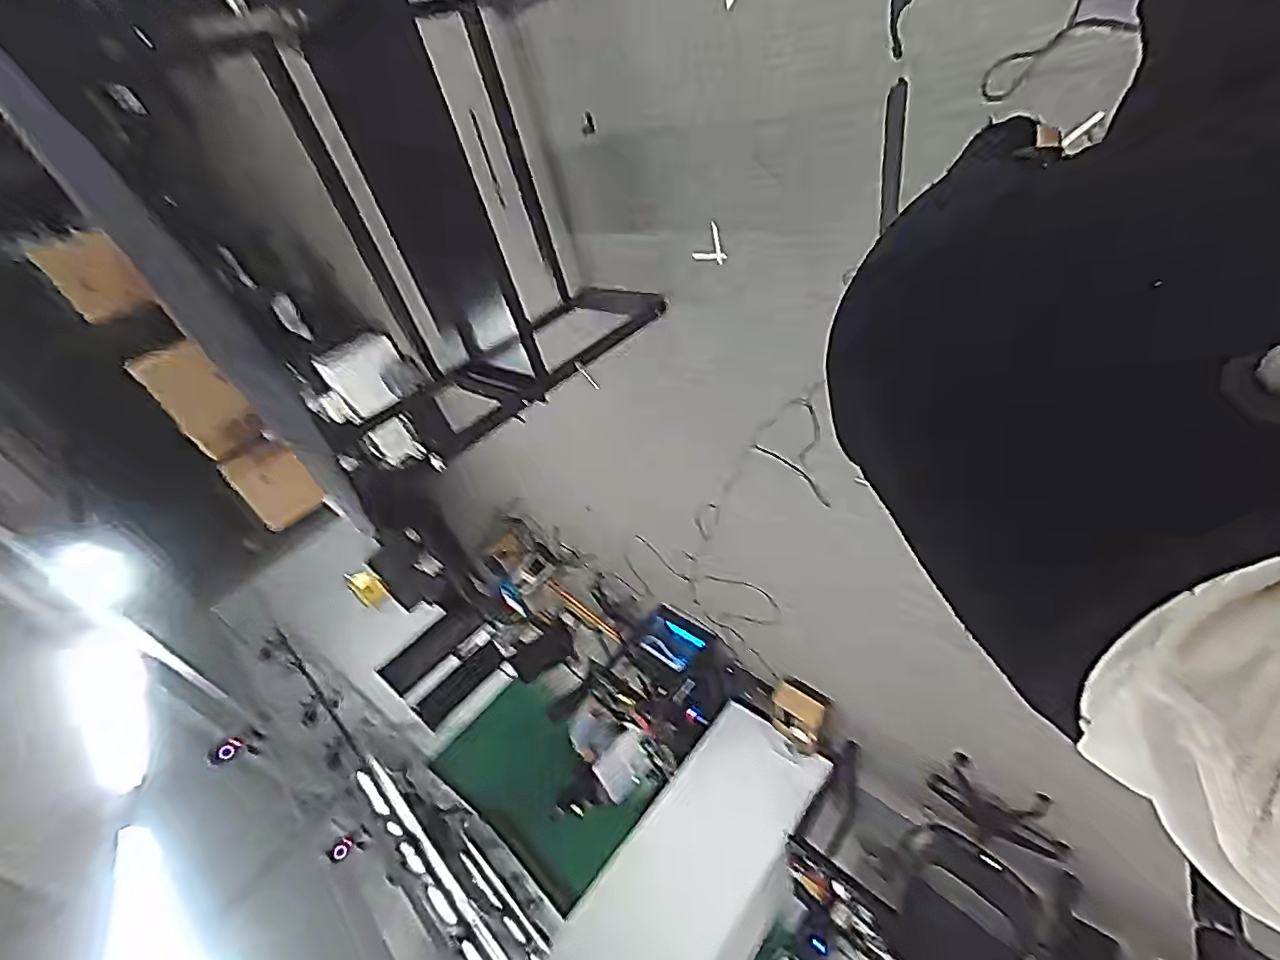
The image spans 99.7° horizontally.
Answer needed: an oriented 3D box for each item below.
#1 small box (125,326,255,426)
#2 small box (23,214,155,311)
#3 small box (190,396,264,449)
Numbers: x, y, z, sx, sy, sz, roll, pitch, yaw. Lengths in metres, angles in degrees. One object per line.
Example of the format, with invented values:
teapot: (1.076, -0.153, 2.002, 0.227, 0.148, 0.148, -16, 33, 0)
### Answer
small box: (-1.115, -0.266, 1.346, 0.168, 0.176, 0.179, 22, 142, 40)
small box: (-1.387, -0.552, 1.369, 0.168, 0.176, 0.179, 22, 142, 39)
small box: (-1.271, -0.218, 1.619, 0.179, 0.176, 0.168, 16, 139, 44)
